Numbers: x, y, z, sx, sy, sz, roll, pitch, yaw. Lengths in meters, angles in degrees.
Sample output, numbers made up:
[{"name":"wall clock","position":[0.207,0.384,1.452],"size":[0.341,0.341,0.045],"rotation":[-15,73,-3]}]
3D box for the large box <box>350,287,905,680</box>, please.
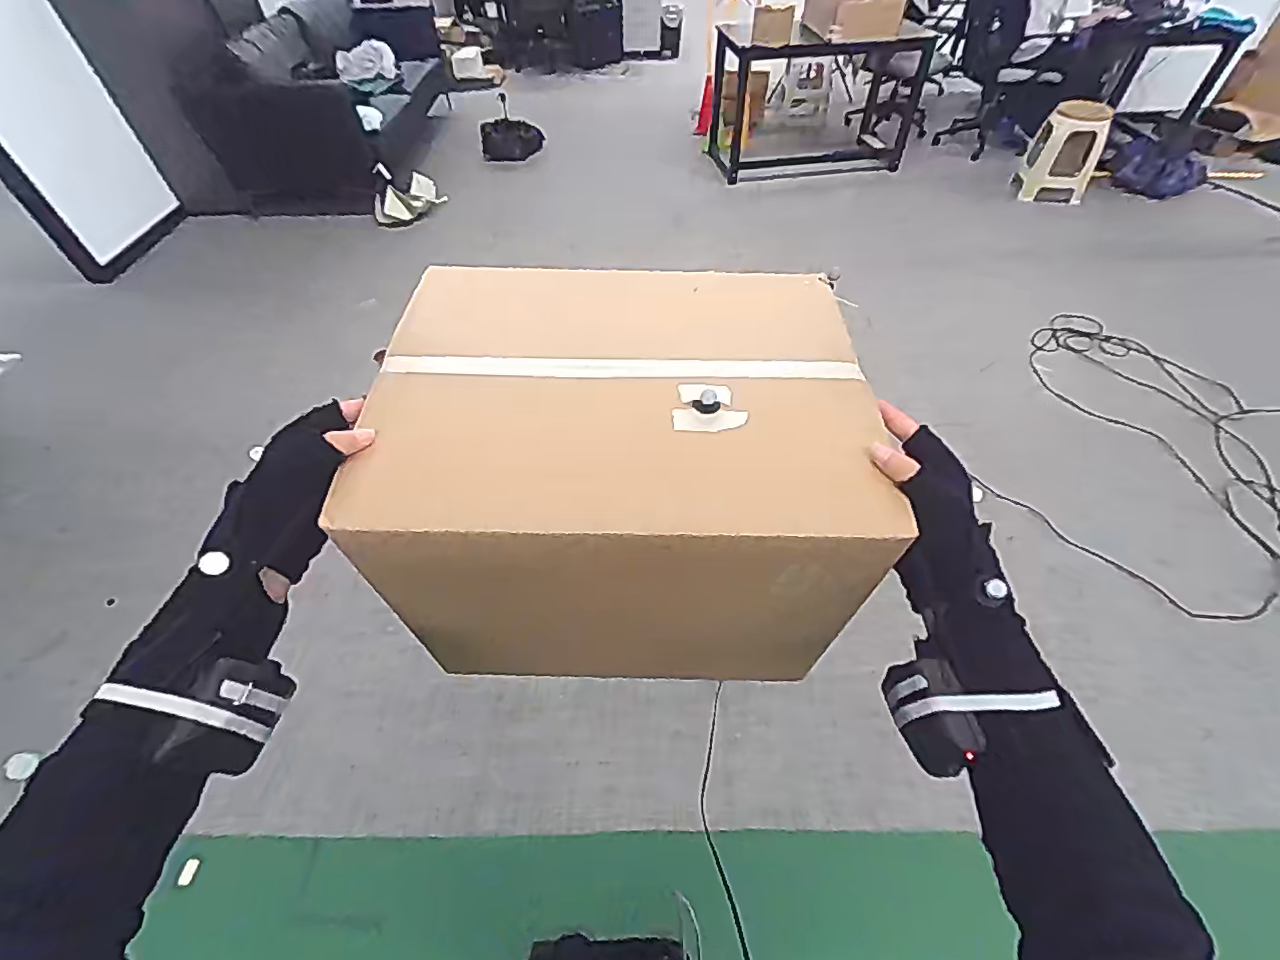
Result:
[{"name":"large box","position":[-0.013,0.013,0.587],"size":[0.408,0.320,0.320],"rotation":[1,53,-1]}]
